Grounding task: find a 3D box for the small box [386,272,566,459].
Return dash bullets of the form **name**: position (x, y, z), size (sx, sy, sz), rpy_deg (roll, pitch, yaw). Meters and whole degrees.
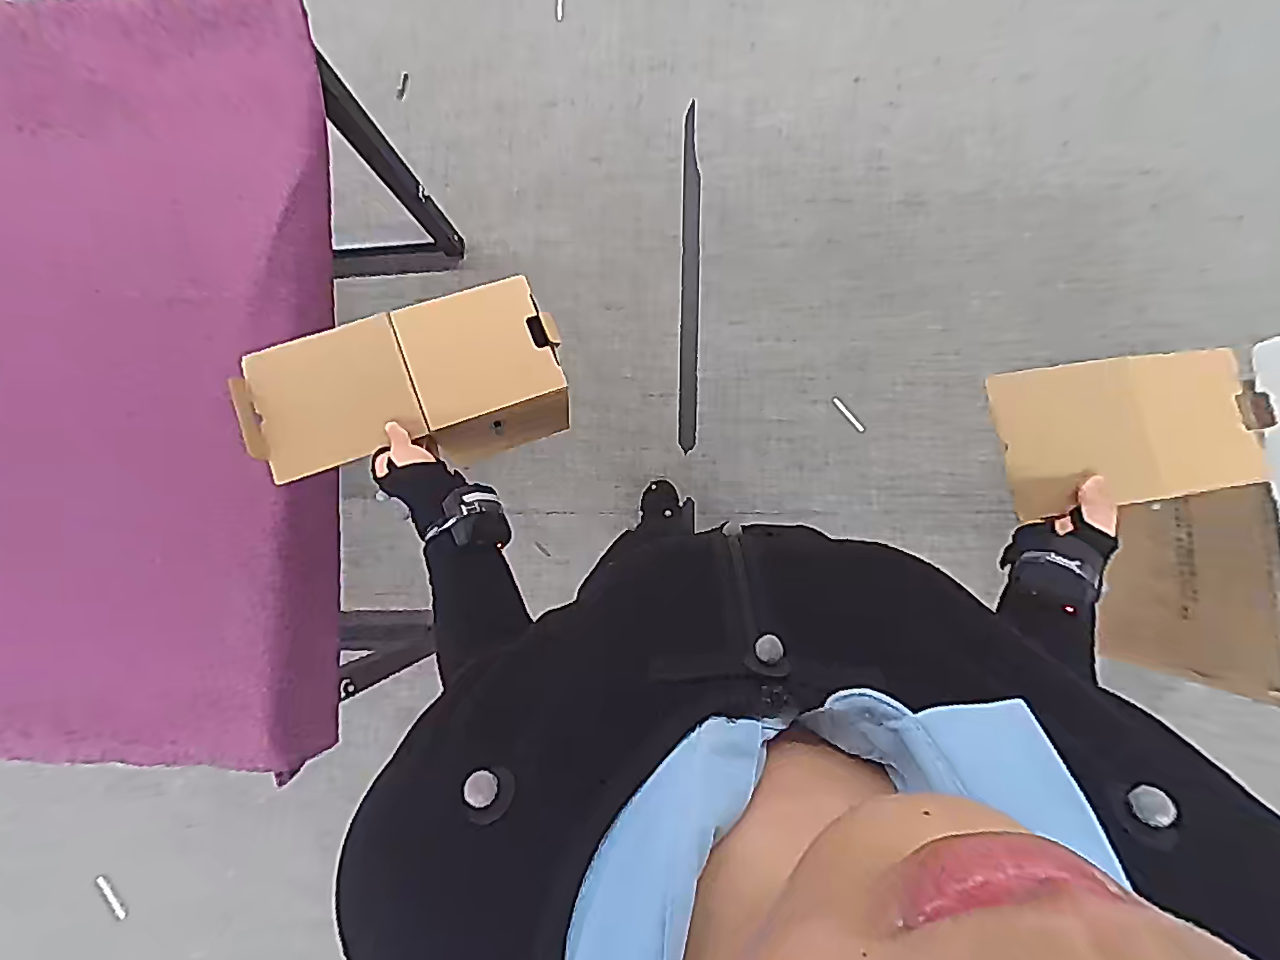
- **small box**: position (-0.206, -0.142, 0.726), size (0.179, 0.176, 0.168), rpy_deg (-20, 82, -11)
